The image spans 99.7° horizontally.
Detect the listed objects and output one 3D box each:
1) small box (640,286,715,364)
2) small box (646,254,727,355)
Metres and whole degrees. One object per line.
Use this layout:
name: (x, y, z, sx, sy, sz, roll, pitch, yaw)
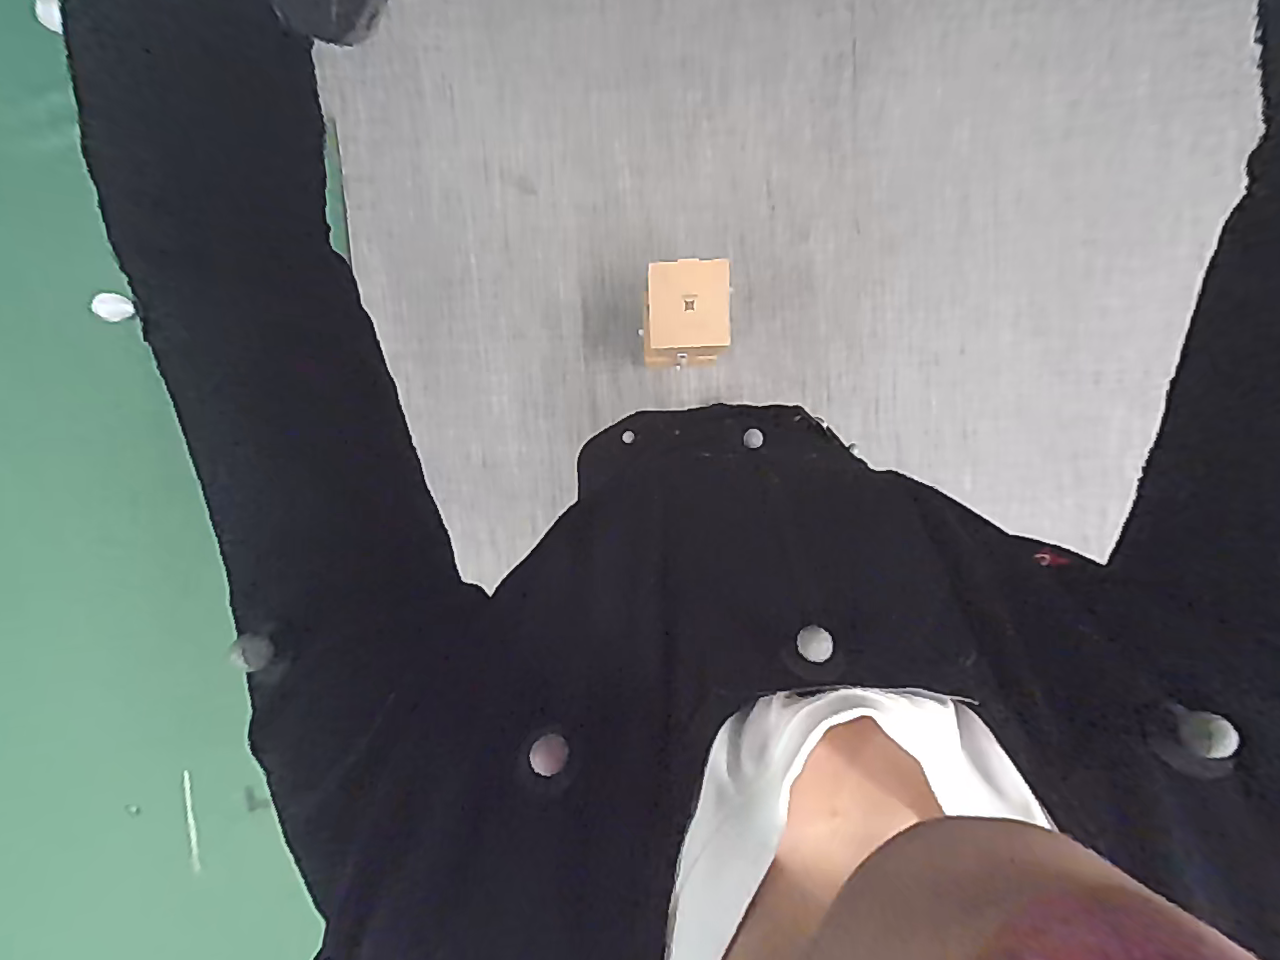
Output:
small box: (0.091, -0.382, 1.345, 0.179, 0.176, 0.168, -1, 95, 3)
small box: (0.099, -0.376, 1.183, 0.168, 0.176, 0.179, -2, 96, 4)
